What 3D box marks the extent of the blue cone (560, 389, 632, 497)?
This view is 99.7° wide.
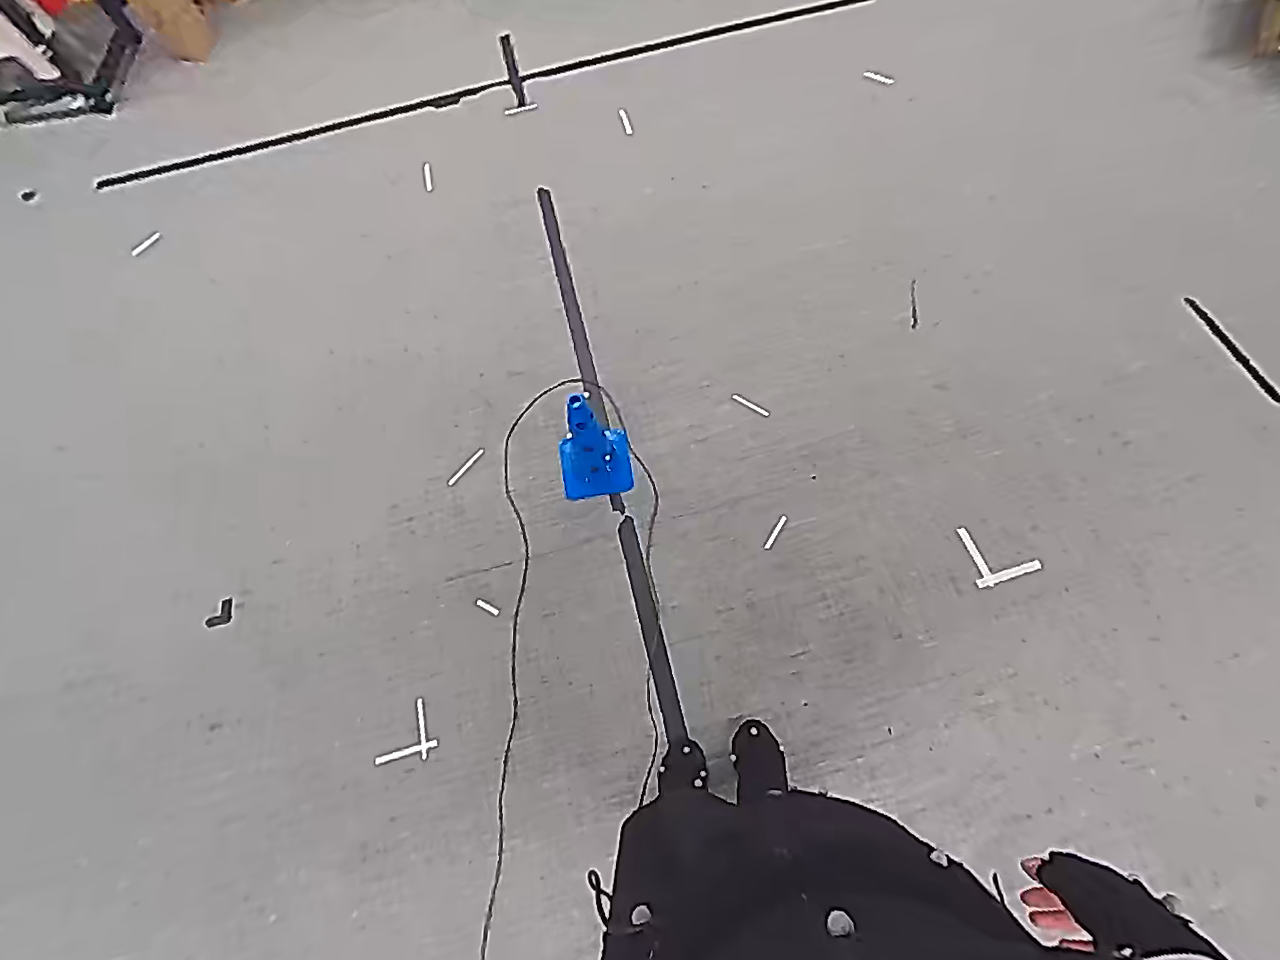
[{"bbox_3d":[-0.136,-0.111,1.386,0.193,0.380,0.192,-12,67,0],"label":"blue cone"}]
